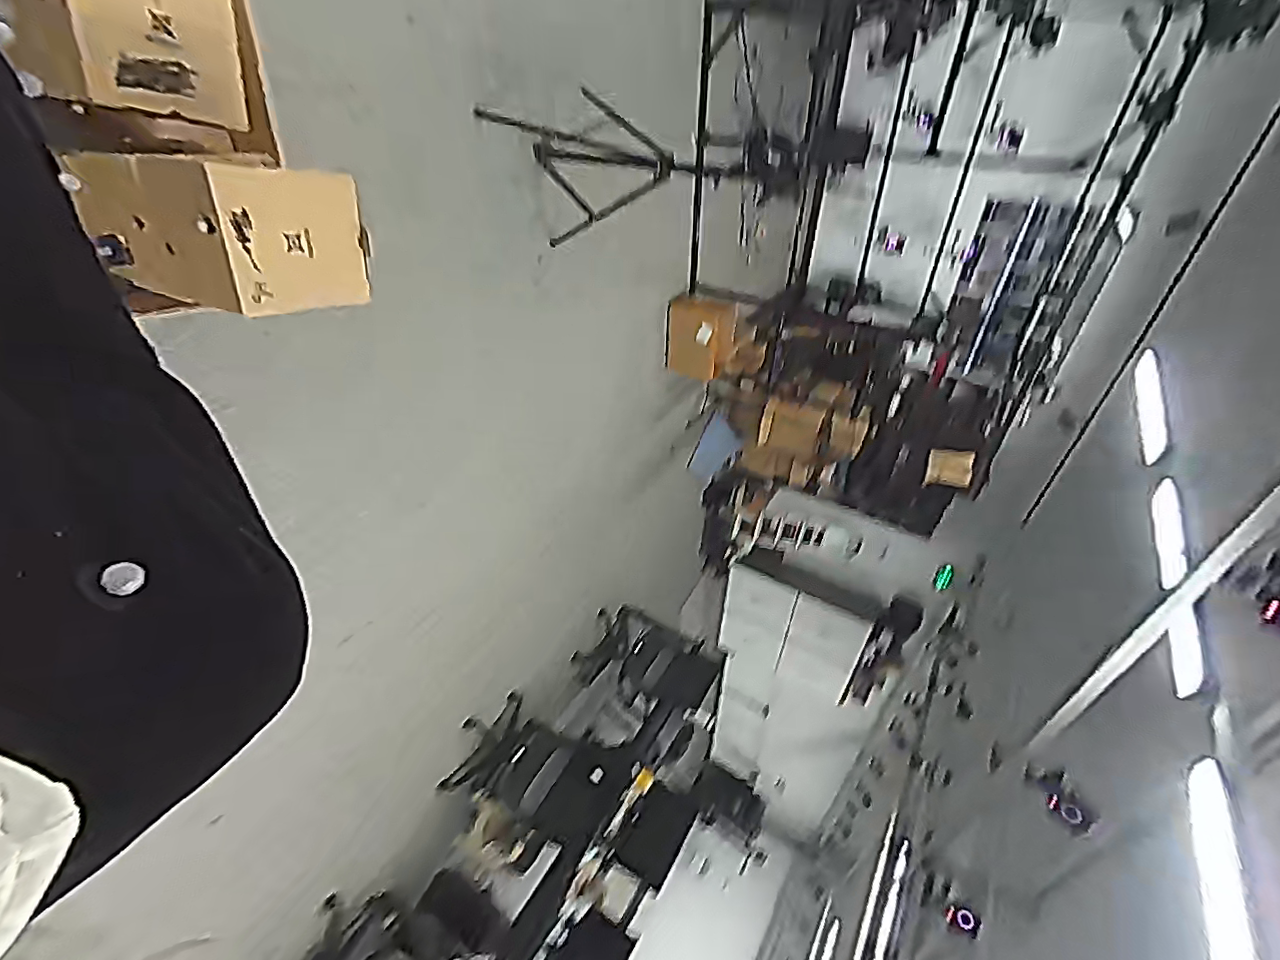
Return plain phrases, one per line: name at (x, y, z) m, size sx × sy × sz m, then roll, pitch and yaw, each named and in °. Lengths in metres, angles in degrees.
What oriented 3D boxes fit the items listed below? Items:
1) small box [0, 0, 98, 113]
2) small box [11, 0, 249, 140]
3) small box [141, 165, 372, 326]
small box at (-0.754, -0.609, 0.740) m, size 0.168 × 0.176 × 0.179 m, roll -36°, pitch 141°, yaw -50°
small box at (-0.624, -0.542, 0.664) m, size 0.168 × 0.176 × 0.179 m, roll -30°, pitch 136°, yaw -54°
small box at (-0.492, -0.311, 0.713) m, size 0.179 × 0.176 × 0.168 m, roll -35°, pitch 137°, yaw -52°
